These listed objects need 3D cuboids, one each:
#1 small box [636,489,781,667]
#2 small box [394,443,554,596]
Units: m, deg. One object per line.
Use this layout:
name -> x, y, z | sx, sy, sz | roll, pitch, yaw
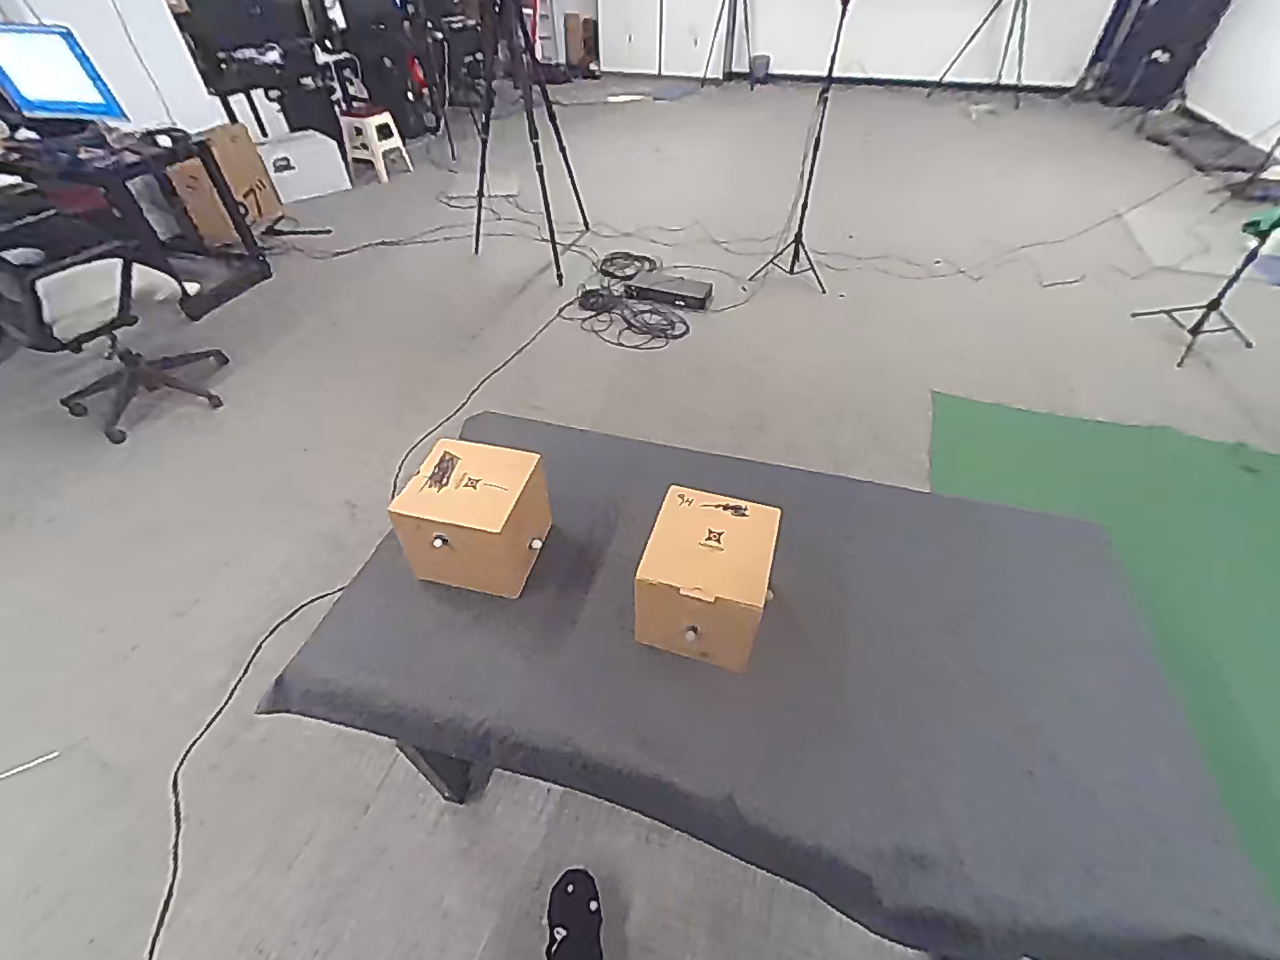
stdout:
small box -> 0.101, 0.145, 0.790 | 0.168, 0.176, 0.179 | 12, 47, 13
small box -> -0.252, 0.065, 0.870 | 0.179, 0.176, 0.168 | 10, 46, 9
